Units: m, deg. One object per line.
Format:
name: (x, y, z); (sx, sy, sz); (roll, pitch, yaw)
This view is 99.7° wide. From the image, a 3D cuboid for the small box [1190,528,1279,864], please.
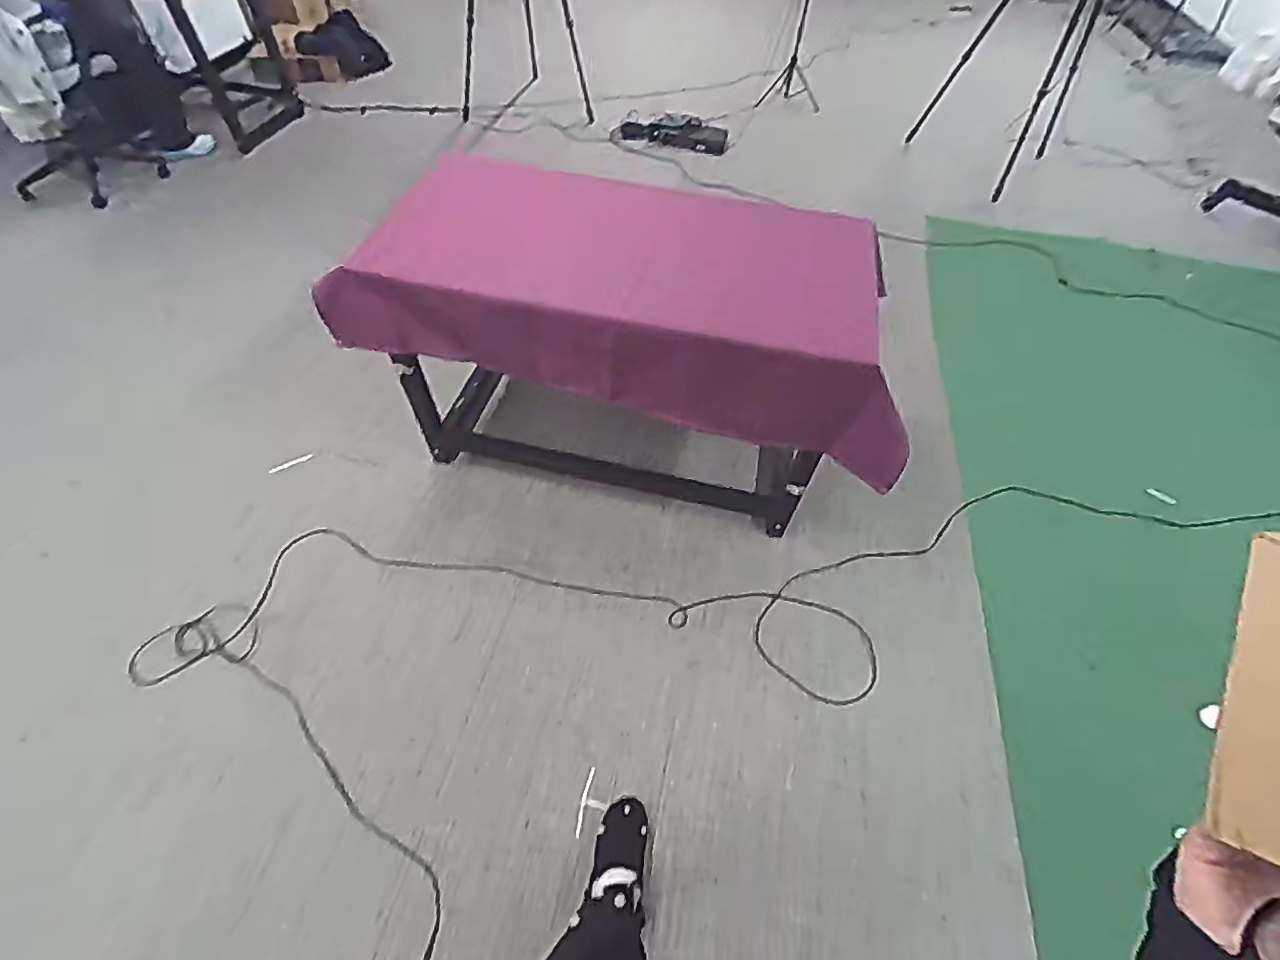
small box: (0.405, 0.131, 0.241); (0.176, 0.179, 0.168); (30, 76, -25)
